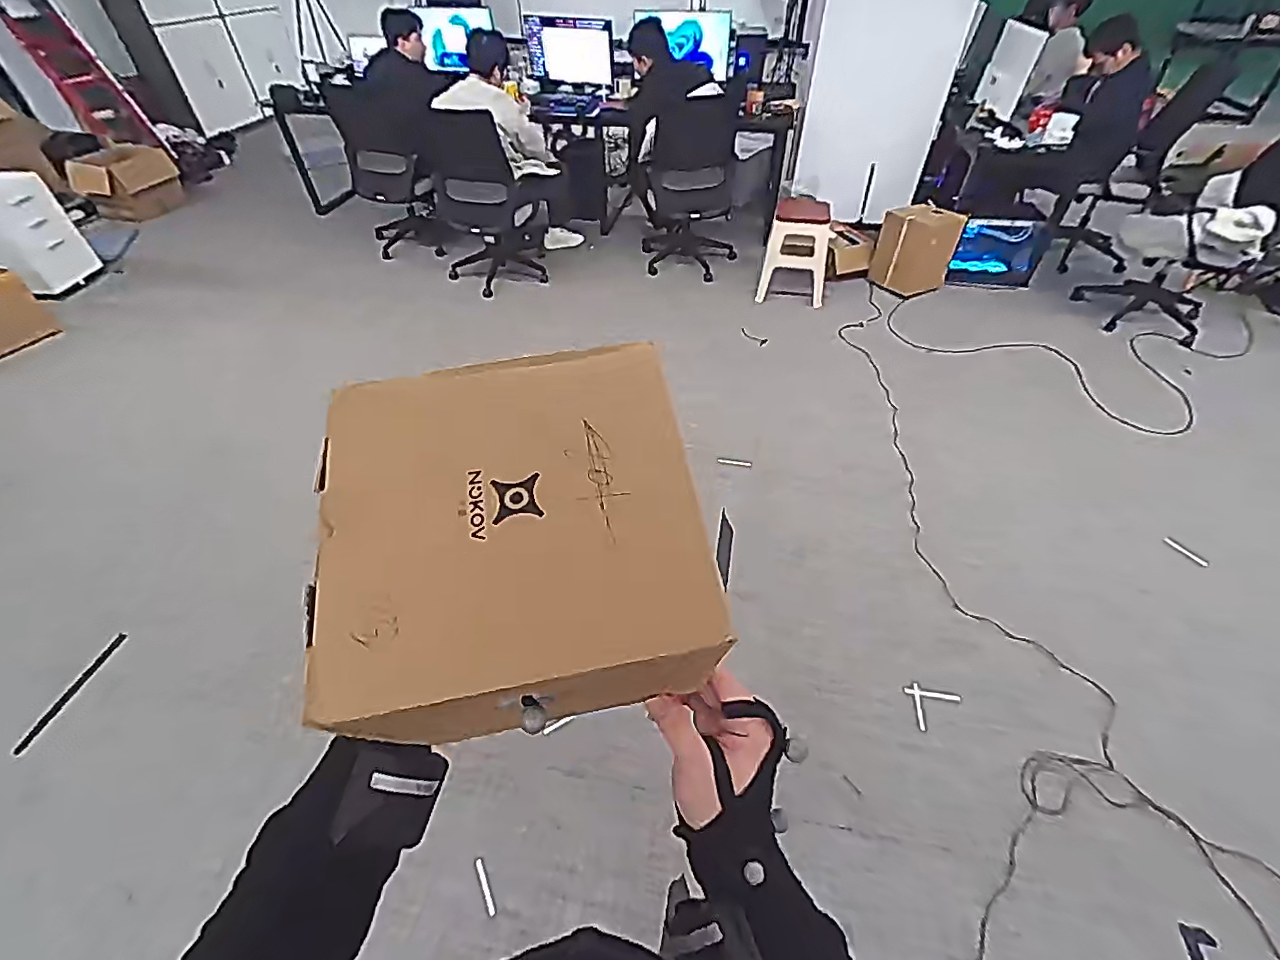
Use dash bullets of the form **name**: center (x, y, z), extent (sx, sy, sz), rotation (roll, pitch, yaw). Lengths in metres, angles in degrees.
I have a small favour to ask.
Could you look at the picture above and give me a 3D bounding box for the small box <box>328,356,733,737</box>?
- **small box**: center (-0.059, 0.052, 0.334), extent (0.179, 0.176, 0.168), rotation (-10, 63, -7)
